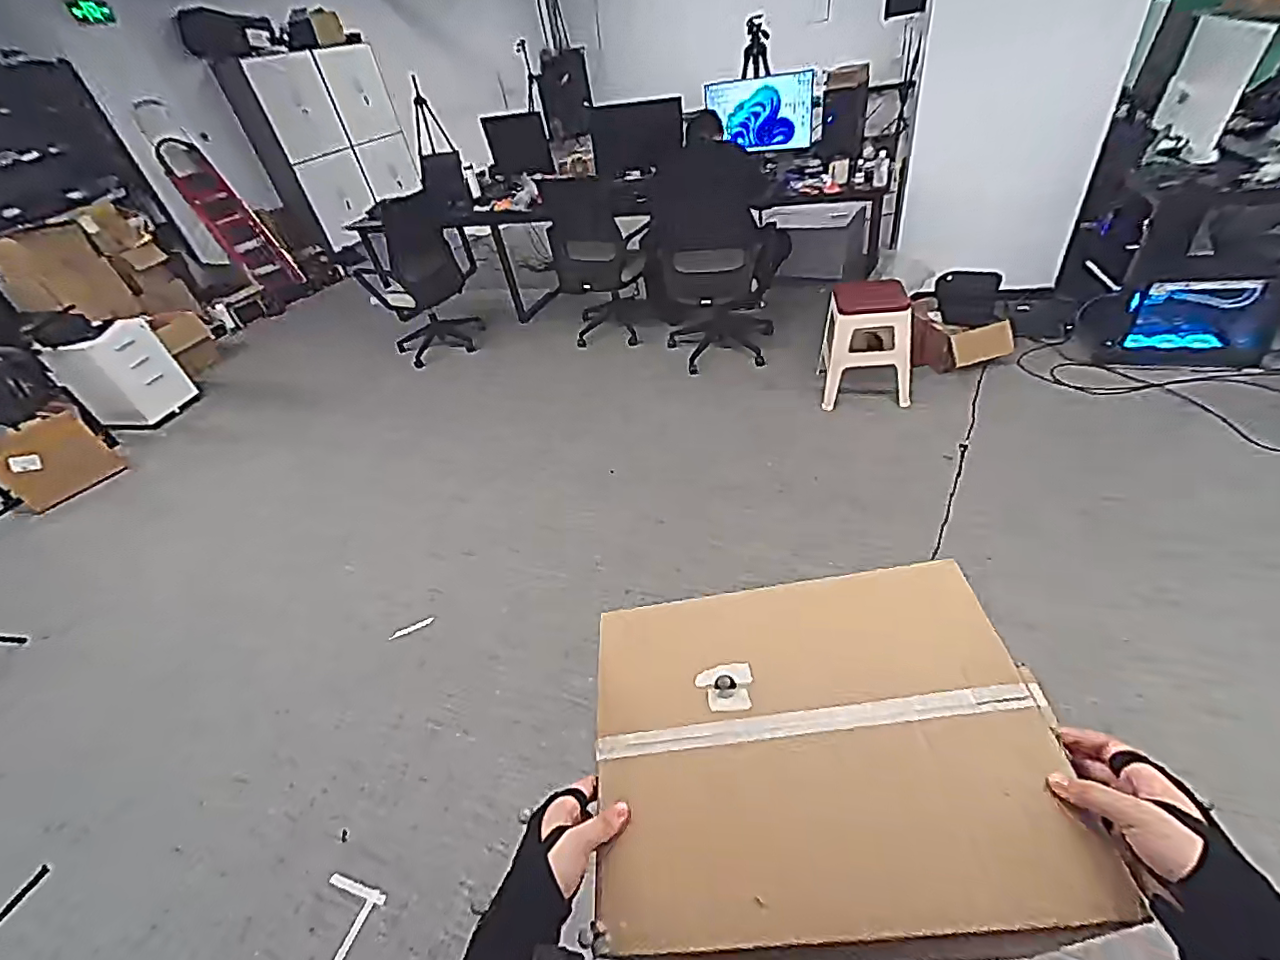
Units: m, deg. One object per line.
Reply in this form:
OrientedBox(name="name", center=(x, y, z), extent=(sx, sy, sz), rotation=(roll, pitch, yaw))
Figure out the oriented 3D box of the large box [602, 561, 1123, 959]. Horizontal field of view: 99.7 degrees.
OrientedBox(name="large box", center=(0.193, 0.339, 0.624), extent=(0.408, 0.320, 0.320), rotation=(-12, 43, 9))
